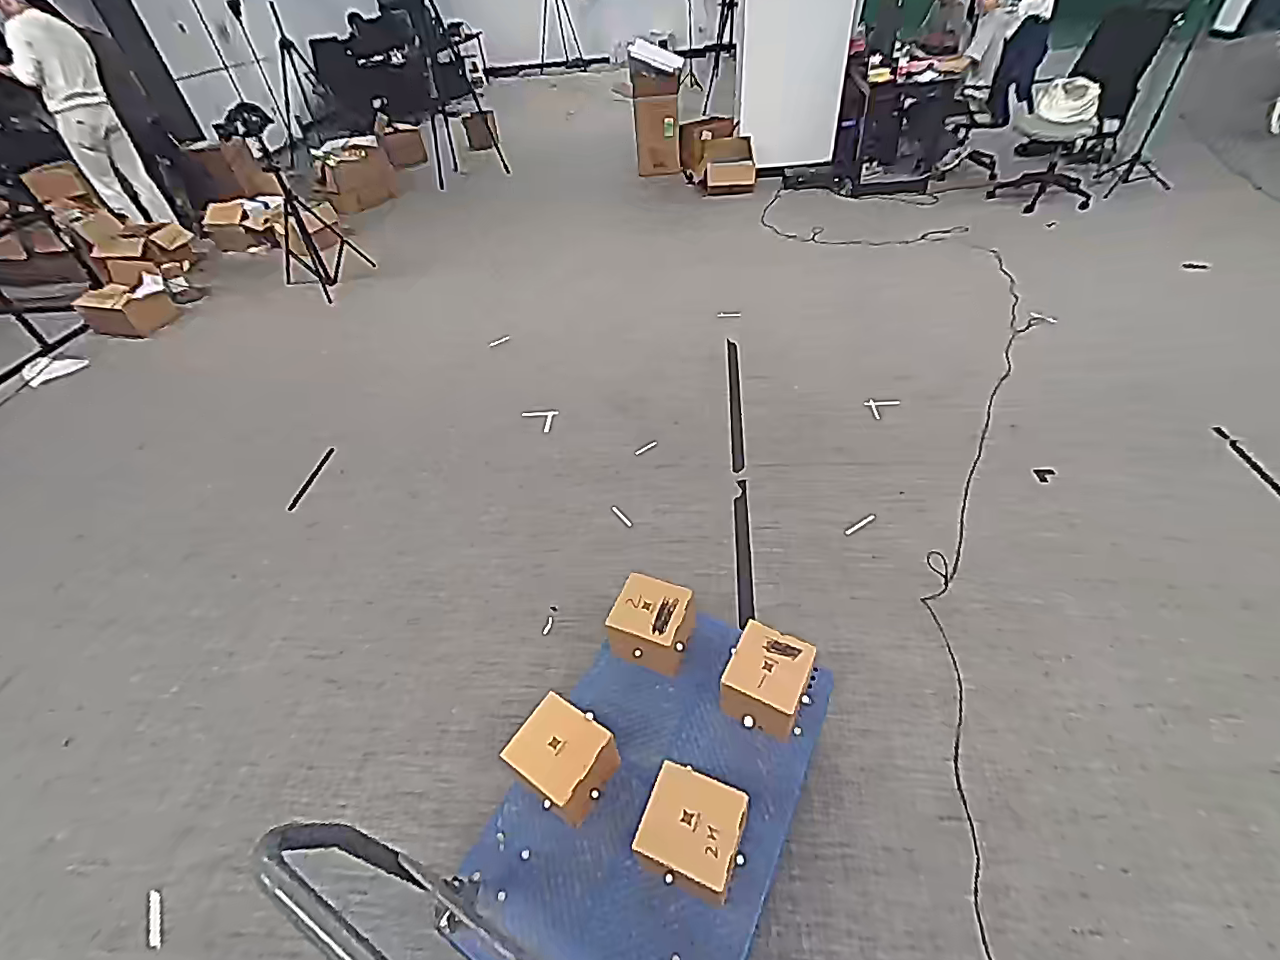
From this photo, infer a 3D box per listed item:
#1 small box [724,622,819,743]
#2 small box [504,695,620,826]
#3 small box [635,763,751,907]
[{"bbox_3d":[0.301,0.471,1.261,0.168,0.176,0.179,18,51,25],"label":"small box"},{"bbox_3d":[-0.163,0.615,1.179,0.179,0.176,0.168,23,51,26],"label":"small box"},{"bbox_3d":[0.108,0.695,1.057,0.179,0.176,0.168,13,48,21],"label":"small box"}]
